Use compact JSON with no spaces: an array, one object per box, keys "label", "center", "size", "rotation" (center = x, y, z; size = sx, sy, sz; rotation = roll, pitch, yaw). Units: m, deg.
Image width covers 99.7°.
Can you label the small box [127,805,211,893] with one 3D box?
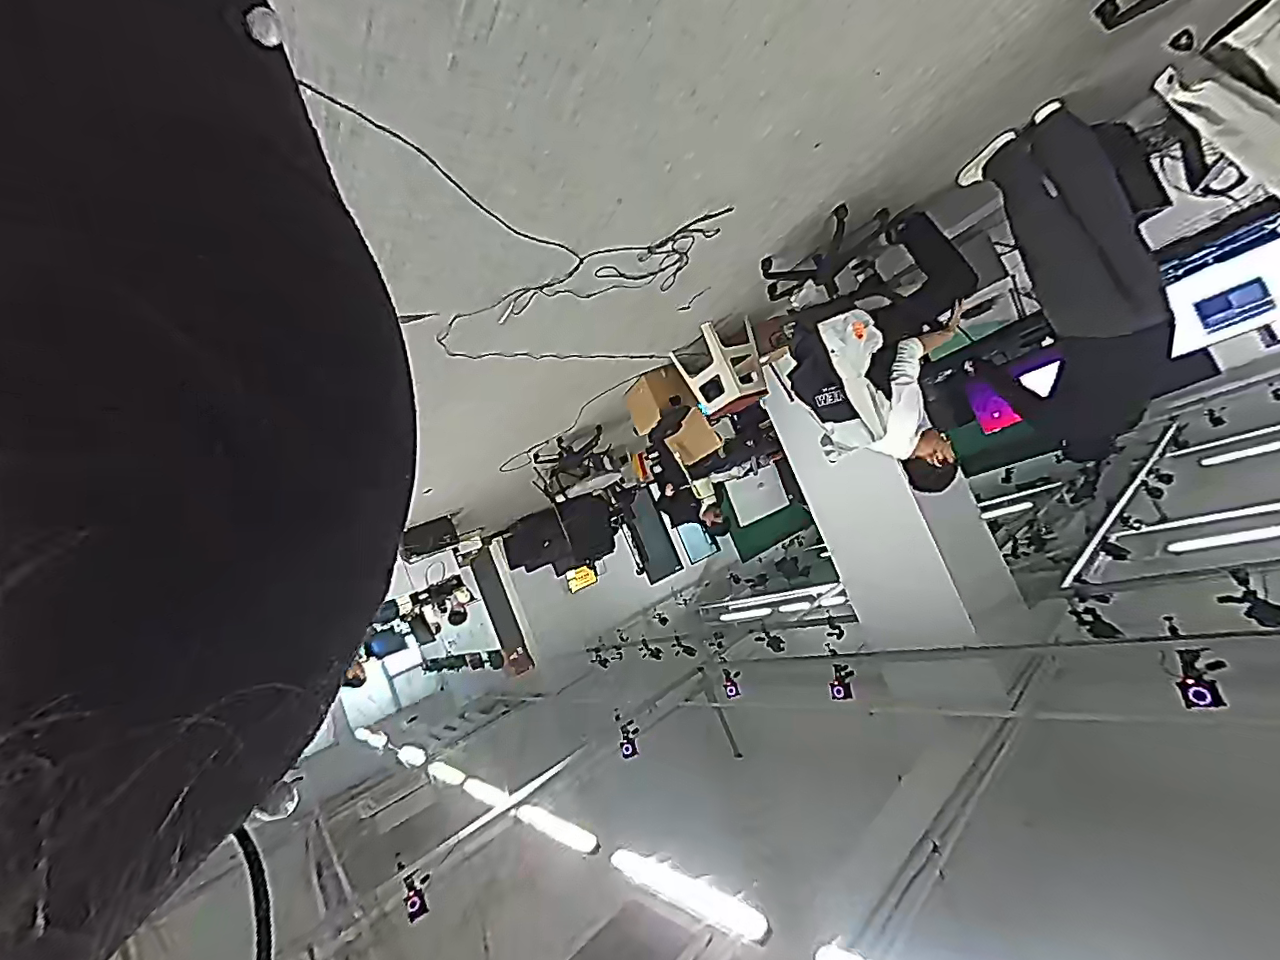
[{"label":"small box","center":[-1.619,1.259,1.864],"size":[0.168,0.176,0.179],"rotation":[-18,175,-31]}]
